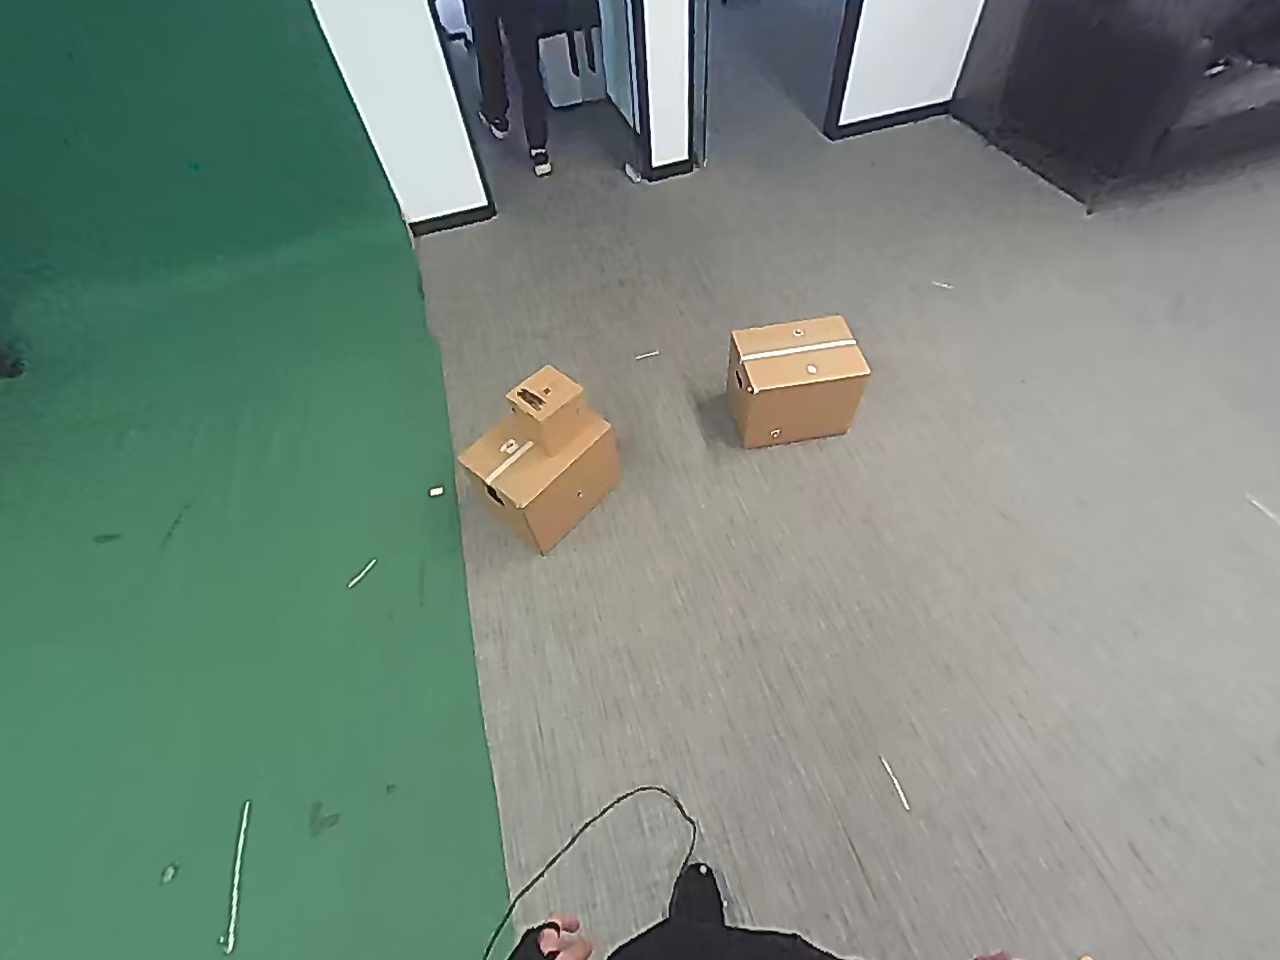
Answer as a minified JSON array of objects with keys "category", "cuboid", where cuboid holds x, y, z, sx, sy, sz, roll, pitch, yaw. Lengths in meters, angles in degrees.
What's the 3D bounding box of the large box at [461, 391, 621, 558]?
[{"category":"large box","cuboid":[-0.316,-0.020,1.843,0.320,0.320,0.408,32,64,25]}]
